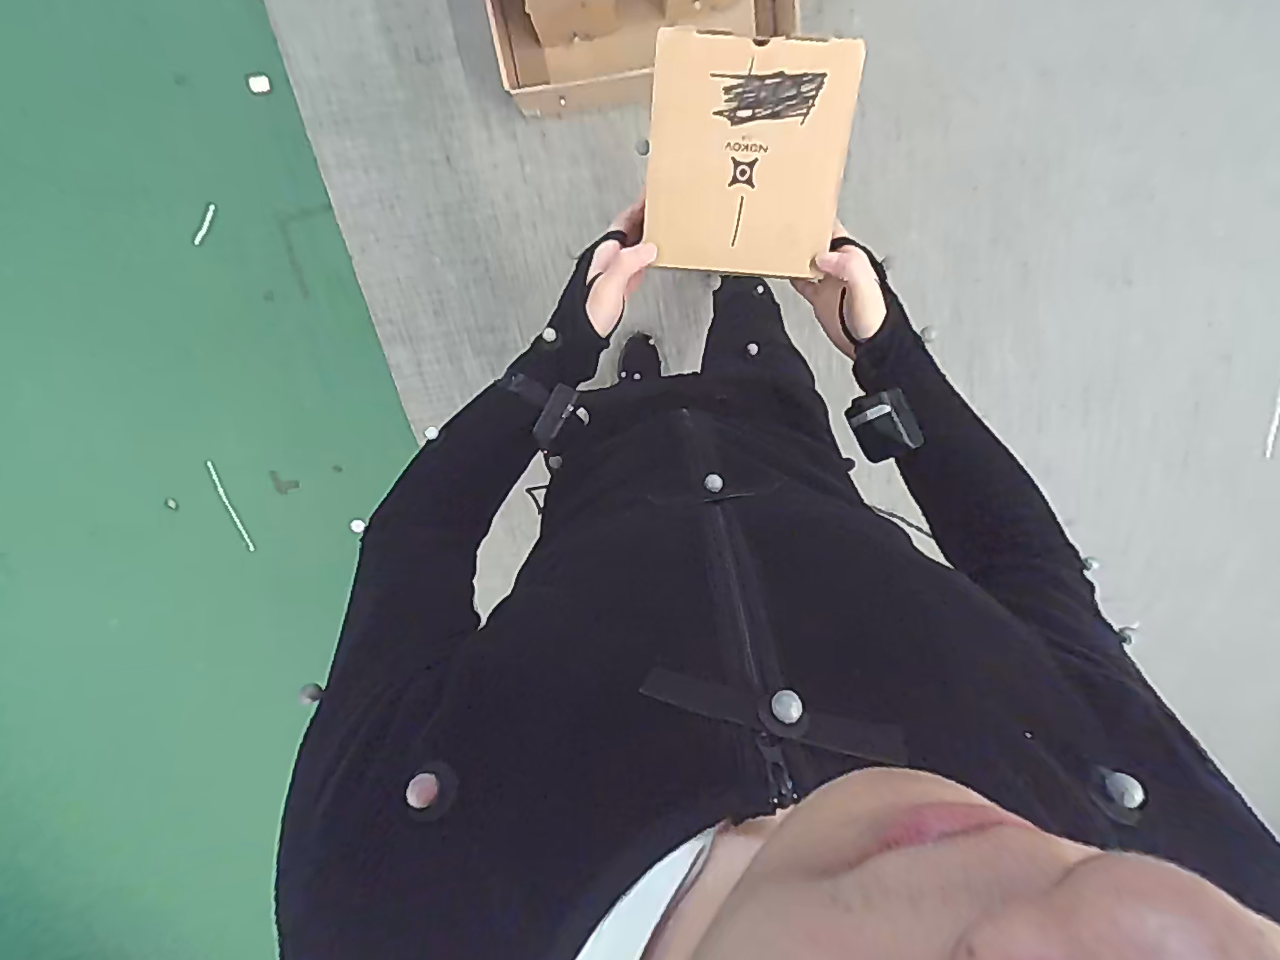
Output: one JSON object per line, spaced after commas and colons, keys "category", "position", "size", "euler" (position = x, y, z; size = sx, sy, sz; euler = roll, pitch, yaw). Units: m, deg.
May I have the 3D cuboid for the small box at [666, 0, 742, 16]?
{"category": "small box", "position": [0.130, -1.065, 1.076], "size": [0.168, 0.176, 0.179], "euler": [-6, 113, 4]}

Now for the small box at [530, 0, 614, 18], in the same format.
{"category": "small box", "position": [-0.137, -0.957, 0.941], "size": [0.168, 0.176, 0.179], "euler": [-9, 113, 3]}

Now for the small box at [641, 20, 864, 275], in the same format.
{"category": "small box", "position": [0.092, -0.300, 0.528], "size": [0.168, 0.176, 0.179], "euler": [6, 111, 1]}
